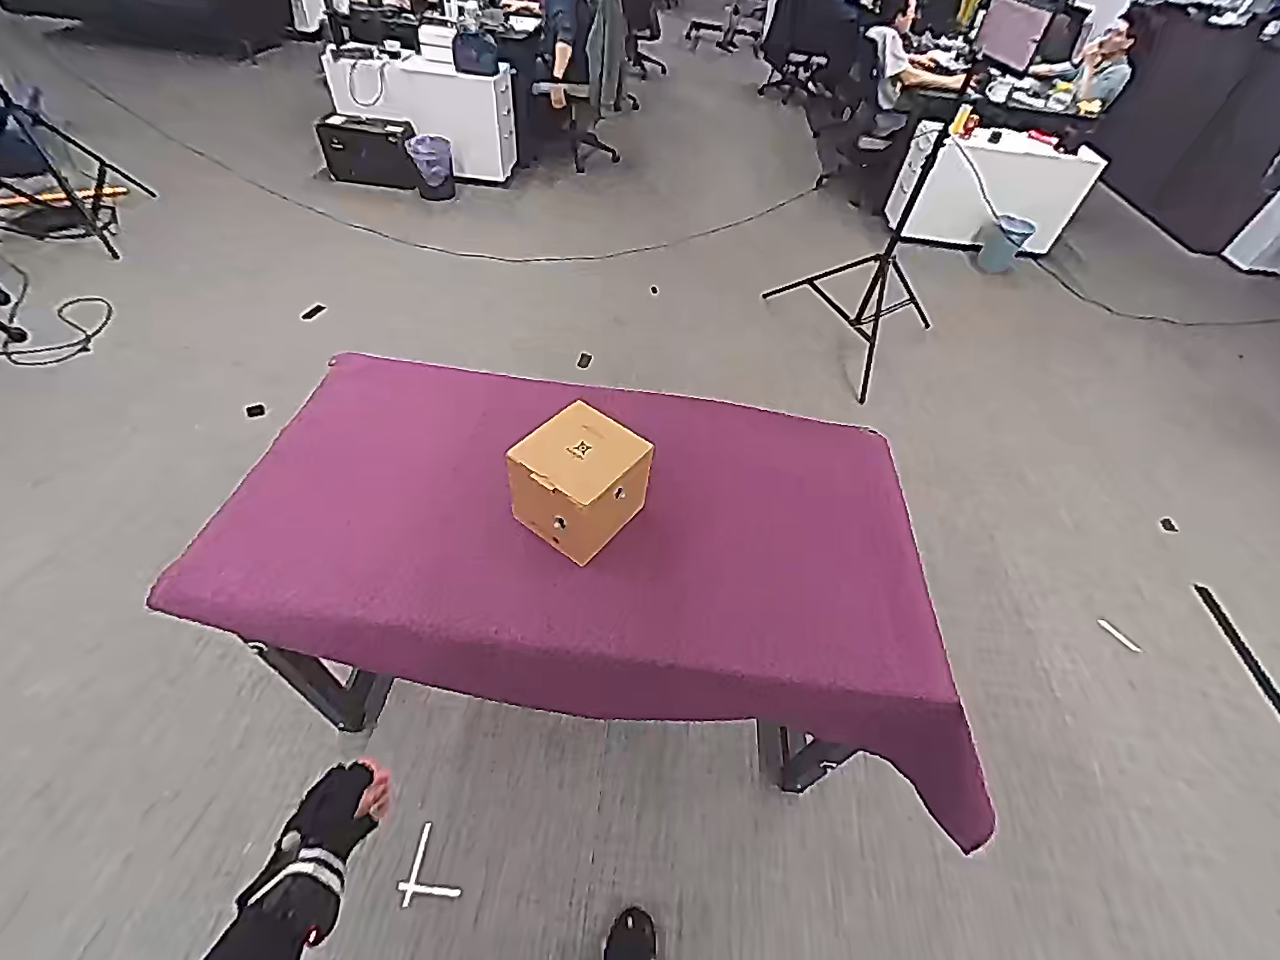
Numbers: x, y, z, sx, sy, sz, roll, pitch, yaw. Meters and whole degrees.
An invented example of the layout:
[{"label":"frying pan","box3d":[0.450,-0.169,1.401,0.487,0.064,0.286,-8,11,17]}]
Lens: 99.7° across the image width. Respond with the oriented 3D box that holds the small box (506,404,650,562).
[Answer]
[{"label":"small box","box3d":[-0.102,0.008,0.925,0.168,0.176,0.179,32,52,19]}]
